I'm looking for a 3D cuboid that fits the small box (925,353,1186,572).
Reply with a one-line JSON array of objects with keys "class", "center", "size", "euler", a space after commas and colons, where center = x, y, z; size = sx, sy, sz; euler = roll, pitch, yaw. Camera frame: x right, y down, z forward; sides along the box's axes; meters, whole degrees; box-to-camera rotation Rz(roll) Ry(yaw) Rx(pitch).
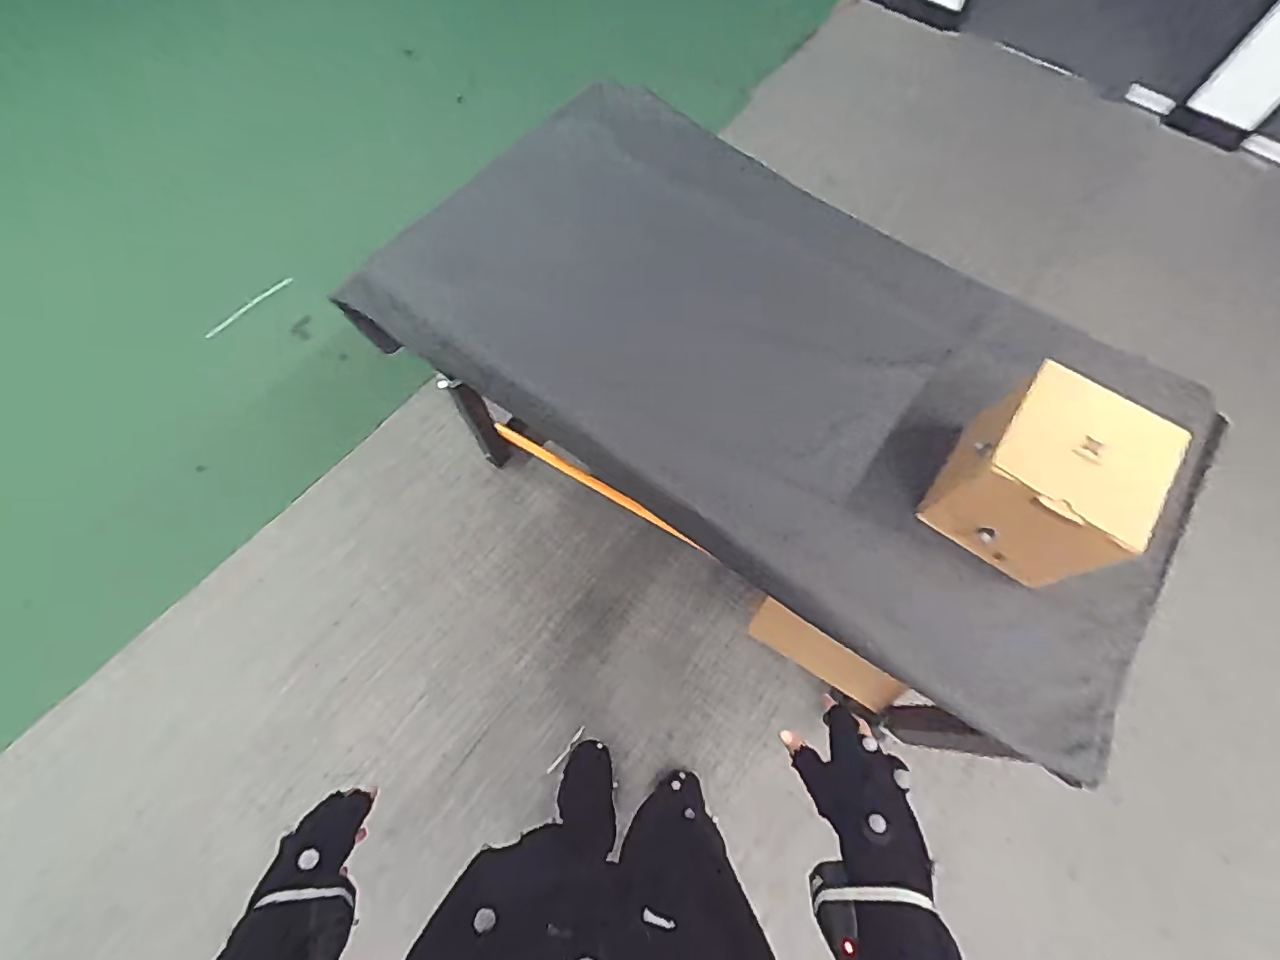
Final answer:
[{"class": "small box", "center": [0.491, -0.013, 0.666], "size": [0.168, 0.176, 0.179], "euler": [35, 72, 12]}]
